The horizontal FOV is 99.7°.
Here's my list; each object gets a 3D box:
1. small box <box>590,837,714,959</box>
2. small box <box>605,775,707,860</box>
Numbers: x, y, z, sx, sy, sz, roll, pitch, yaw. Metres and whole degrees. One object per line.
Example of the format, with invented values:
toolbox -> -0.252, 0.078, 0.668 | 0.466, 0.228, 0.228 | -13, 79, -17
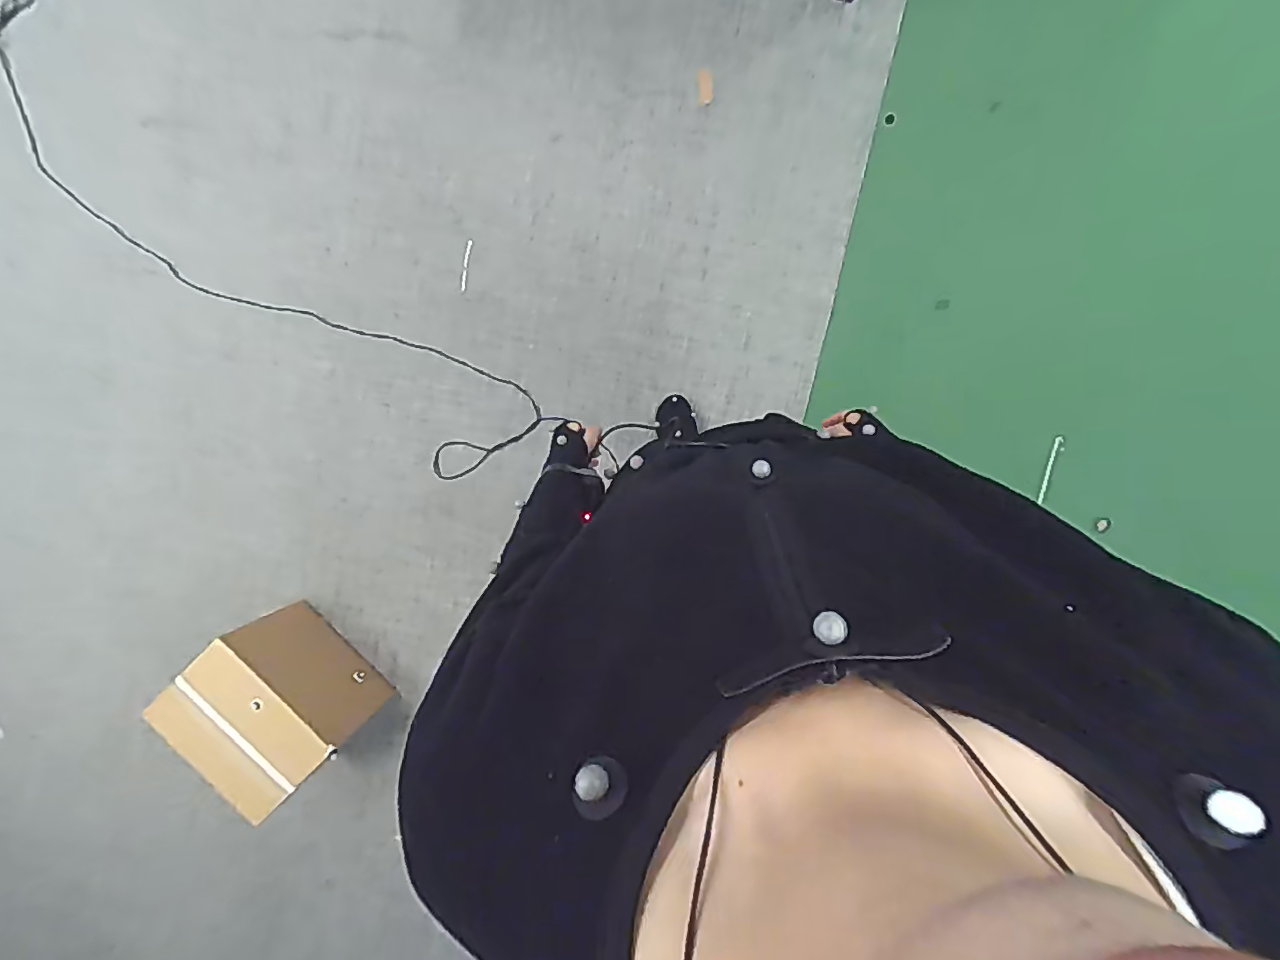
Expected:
small box -> 0.026, 0.693, 0.842 | 0.179, 0.176, 0.168 | -2, 95, 6
small box -> 0.036, 0.676, 1.006 | 0.179, 0.176, 0.168 | -3, 95, 4
